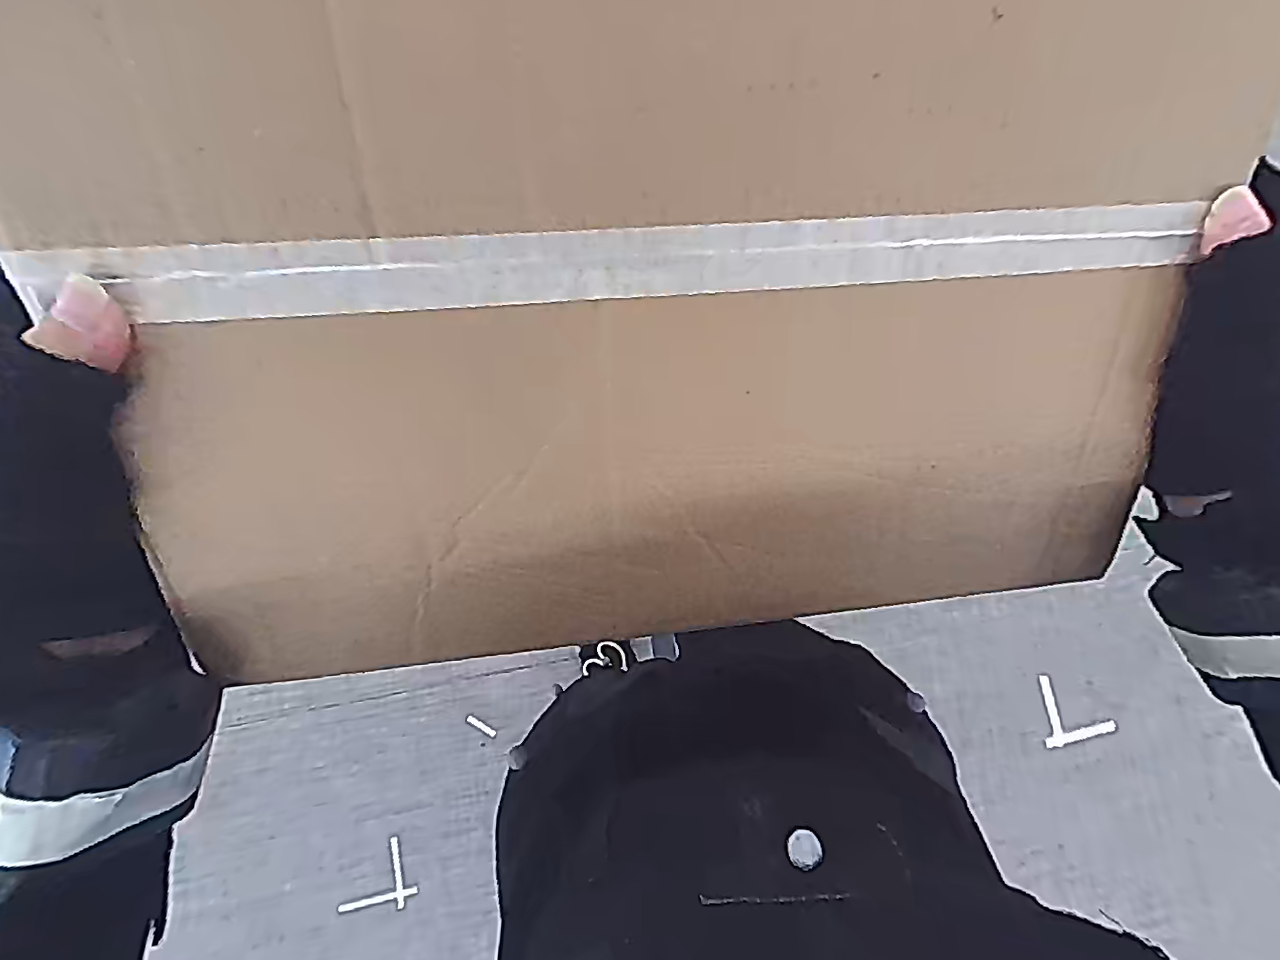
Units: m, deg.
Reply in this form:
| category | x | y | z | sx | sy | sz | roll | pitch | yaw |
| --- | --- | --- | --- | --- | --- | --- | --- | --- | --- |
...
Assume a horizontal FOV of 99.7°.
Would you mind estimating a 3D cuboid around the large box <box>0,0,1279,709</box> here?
| category | x | y | z | sx | sy | sz | roll | pitch | yaw |
| --- | --- | --- | --- | --- | --- | --- | --- | --- | --- |
| large box | -0.001 | -0.120 | 0.326 | 0.408 | 0.320 | 0.320 | -6 | 114 | -7 |
